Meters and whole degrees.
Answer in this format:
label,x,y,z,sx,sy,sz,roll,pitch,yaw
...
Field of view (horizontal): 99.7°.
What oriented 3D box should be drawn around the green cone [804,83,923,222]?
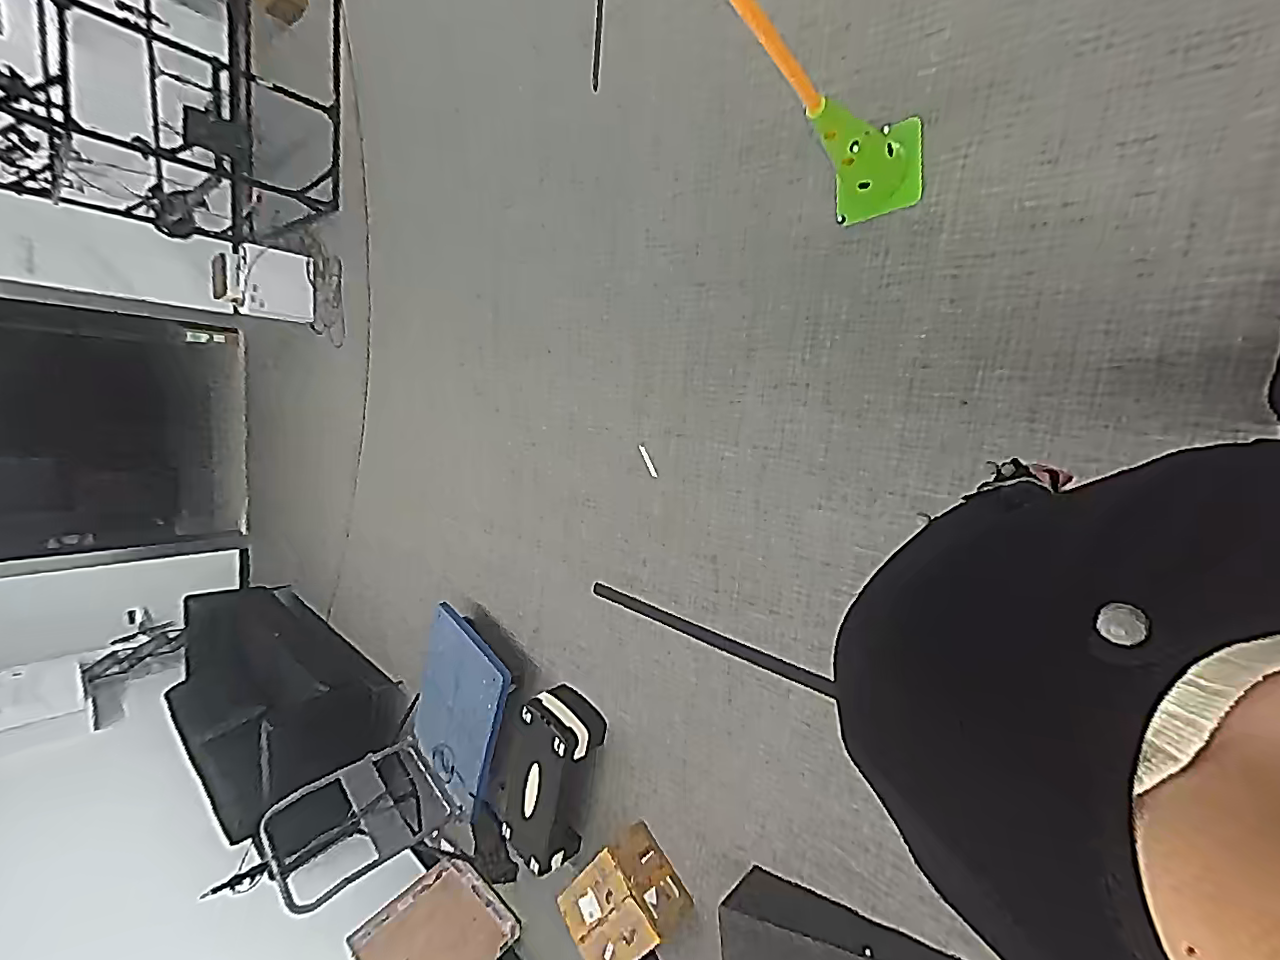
label,x,y,z,sx,sy,sz,roll,pitch,yaw
green cone,0.459,-0.744,1.175,0.200,0.368,0.202,-1,90,42
